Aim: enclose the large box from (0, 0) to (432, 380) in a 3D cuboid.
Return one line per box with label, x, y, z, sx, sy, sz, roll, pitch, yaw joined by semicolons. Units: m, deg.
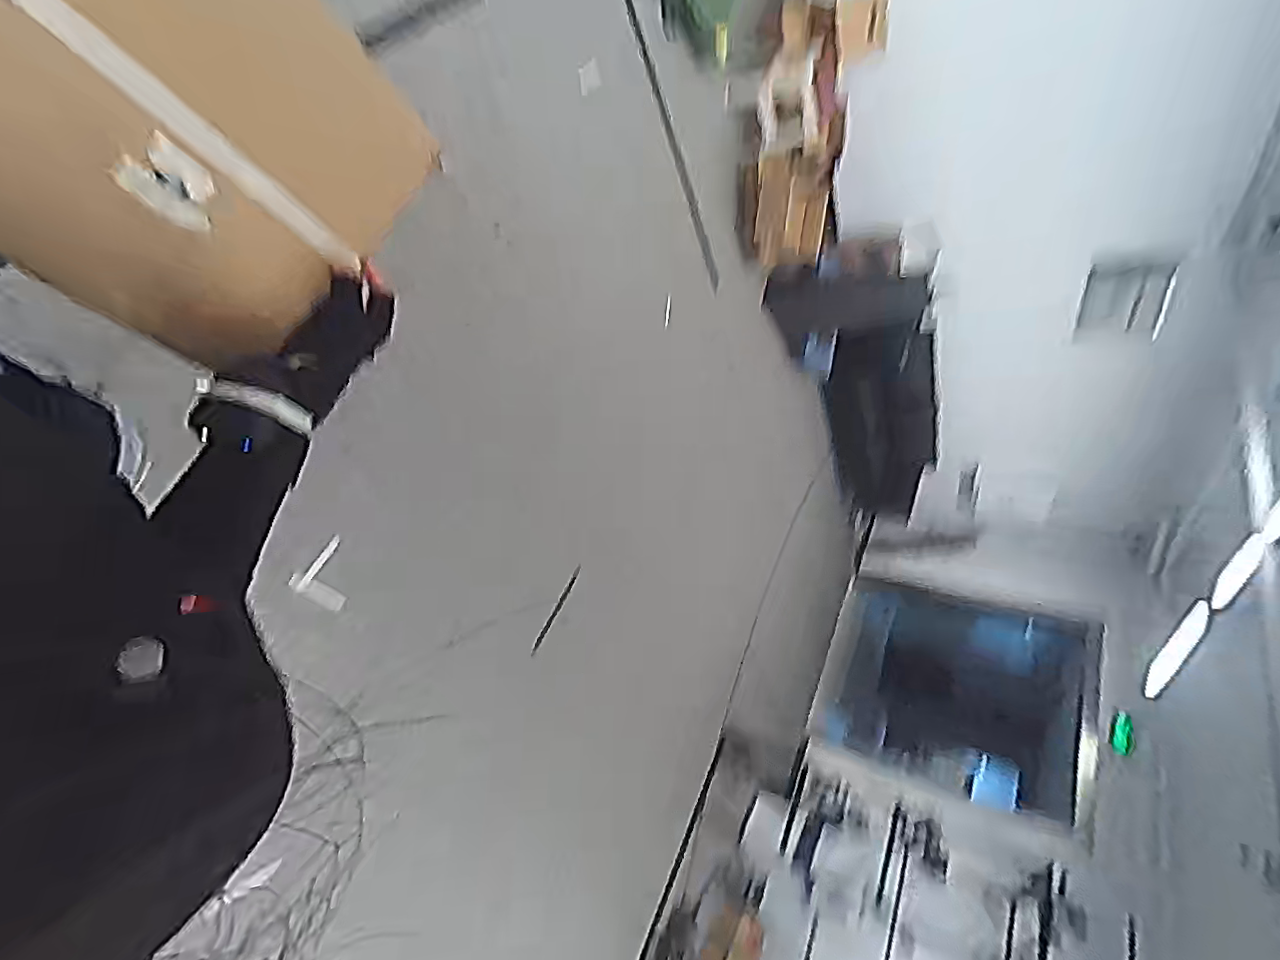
large box;-0.492;-0.353;0.473;0.320;0.320;0.408;-57;143;-8
